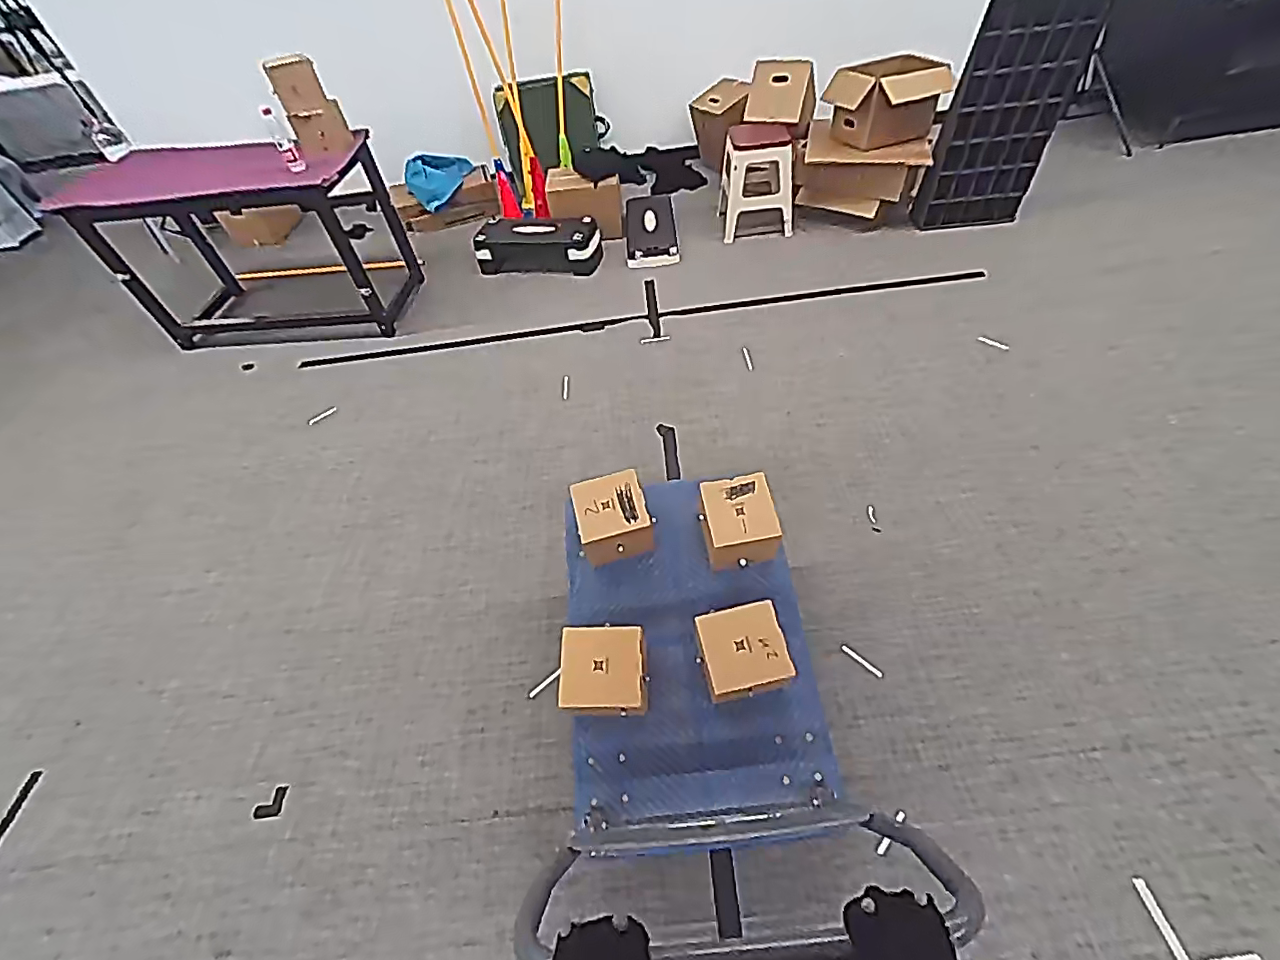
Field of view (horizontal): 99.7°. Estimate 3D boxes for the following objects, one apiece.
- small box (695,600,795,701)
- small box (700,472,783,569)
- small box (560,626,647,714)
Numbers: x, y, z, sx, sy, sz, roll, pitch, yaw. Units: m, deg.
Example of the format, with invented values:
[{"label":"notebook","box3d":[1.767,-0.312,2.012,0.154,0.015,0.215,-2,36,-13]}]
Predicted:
[{"label":"small box","box3d":[0.229,0.389,1.217,0.179,0.176,0.168,-13,62,-1]},{"label":"small box","box3d":[0.248,0.106,1.367,0.168,0.176,0.179,-11,62,0]},{"label":"small box","box3d":[-0.076,0.434,1.224,0.179,0.176,0.168,-2,62,3]}]
